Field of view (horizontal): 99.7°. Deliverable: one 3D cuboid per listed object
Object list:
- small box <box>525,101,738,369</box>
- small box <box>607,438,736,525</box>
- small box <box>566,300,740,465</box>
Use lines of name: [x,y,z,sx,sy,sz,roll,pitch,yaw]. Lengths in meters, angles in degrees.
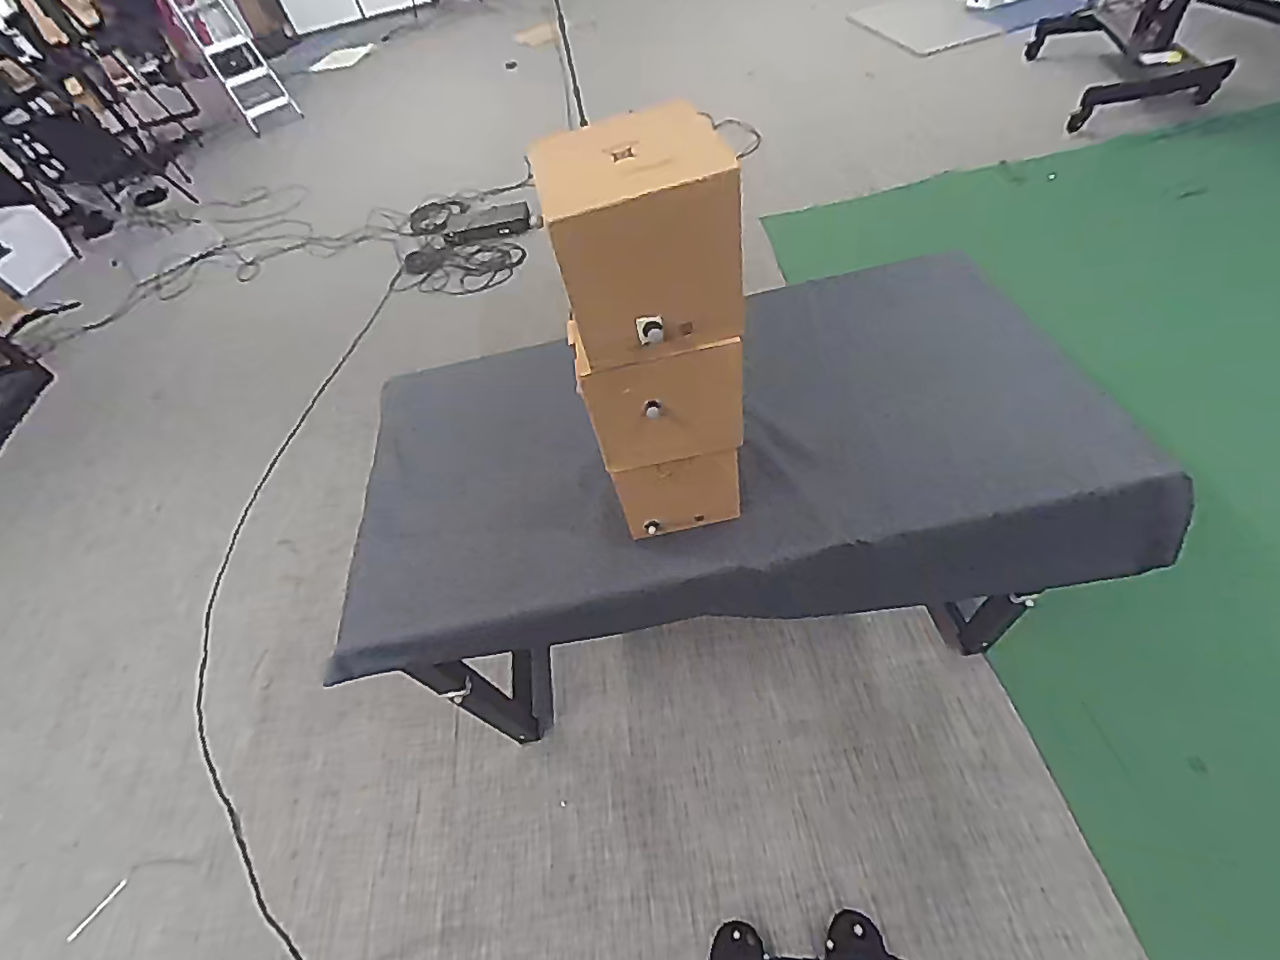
small box: [-0.006,-0.245,0.552,0.168,0.176,0.179,-17,52,0]
small box: [0.043,-0.049,0.808,0.168,0.176,0.179,-13,51,3]
small box: [0.019,-0.141,0.679,0.179,0.176,0.168,-14,50,1]
